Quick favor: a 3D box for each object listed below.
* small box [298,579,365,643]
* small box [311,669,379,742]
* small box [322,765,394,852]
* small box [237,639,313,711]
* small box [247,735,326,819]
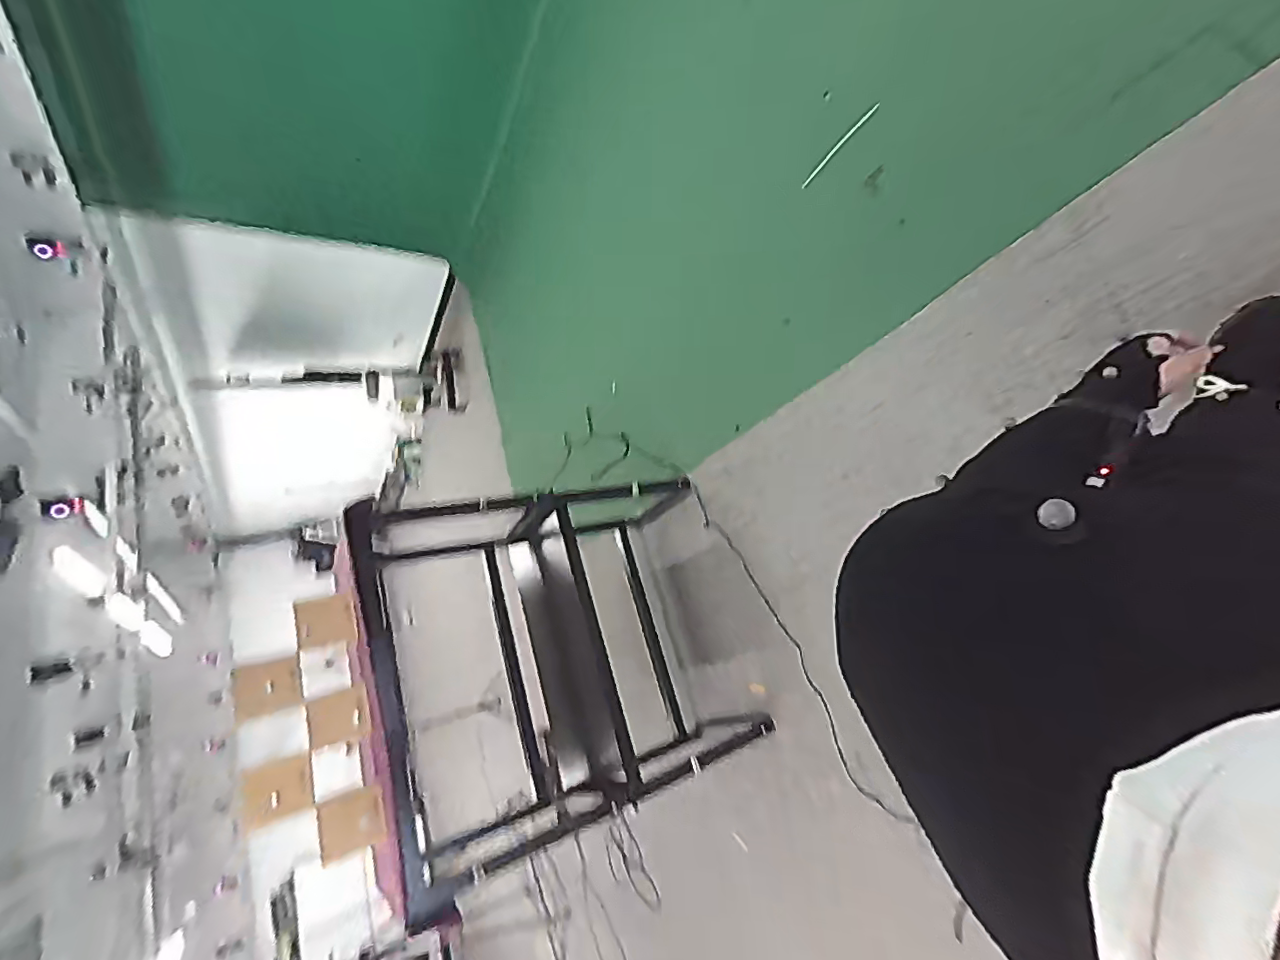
[{"bbox_3d":[-1.004,0.427,1.764,0.179,0.176,0.168,-27,75,56],"label":"small box"},{"bbox_3d":[-0.921,0.699,1.688,0.179,0.176,0.168,-35,68,53],"label":"small box"},{"bbox_3d":[-0.829,0.957,1.590,0.179,0.176,0.168,-40,62,51],"label":"small box"},{"bbox_3d":[-1.101,0.590,1.639,0.179,0.176,0.168,-35,66,54],"label":"small box"},{"bbox_3d":[-1.013,0.852,1.558,0.179,0.176,0.168,-48,56,50],"label":"small box"}]
